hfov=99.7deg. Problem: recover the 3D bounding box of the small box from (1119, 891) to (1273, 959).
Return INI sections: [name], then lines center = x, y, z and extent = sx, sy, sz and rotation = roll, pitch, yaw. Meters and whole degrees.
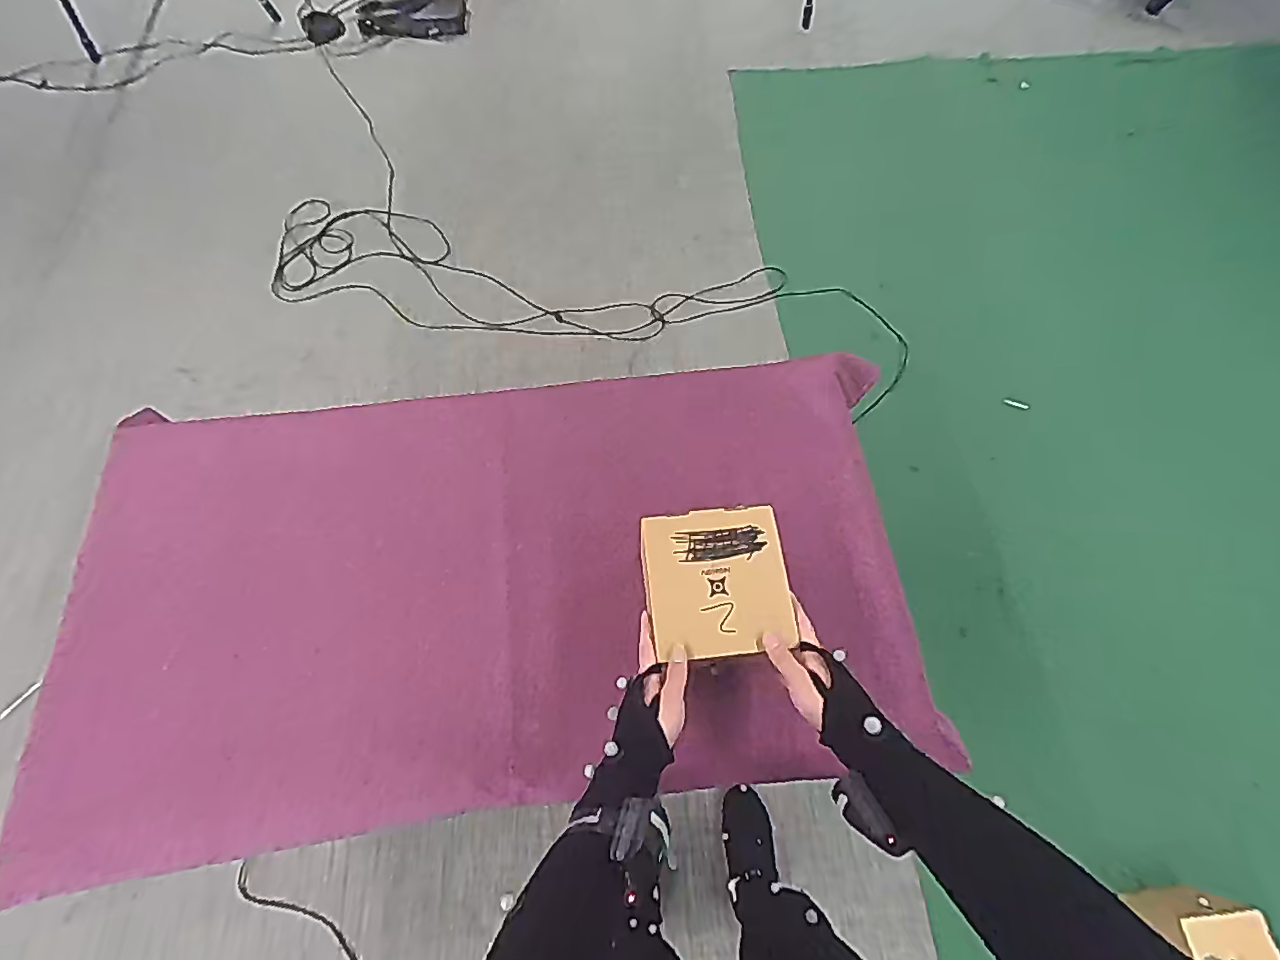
[small box]
center = 1.180, 1.002, 1.148
extent = 0.179, 0.176, 0.168
rotation = -4, 67, -3
